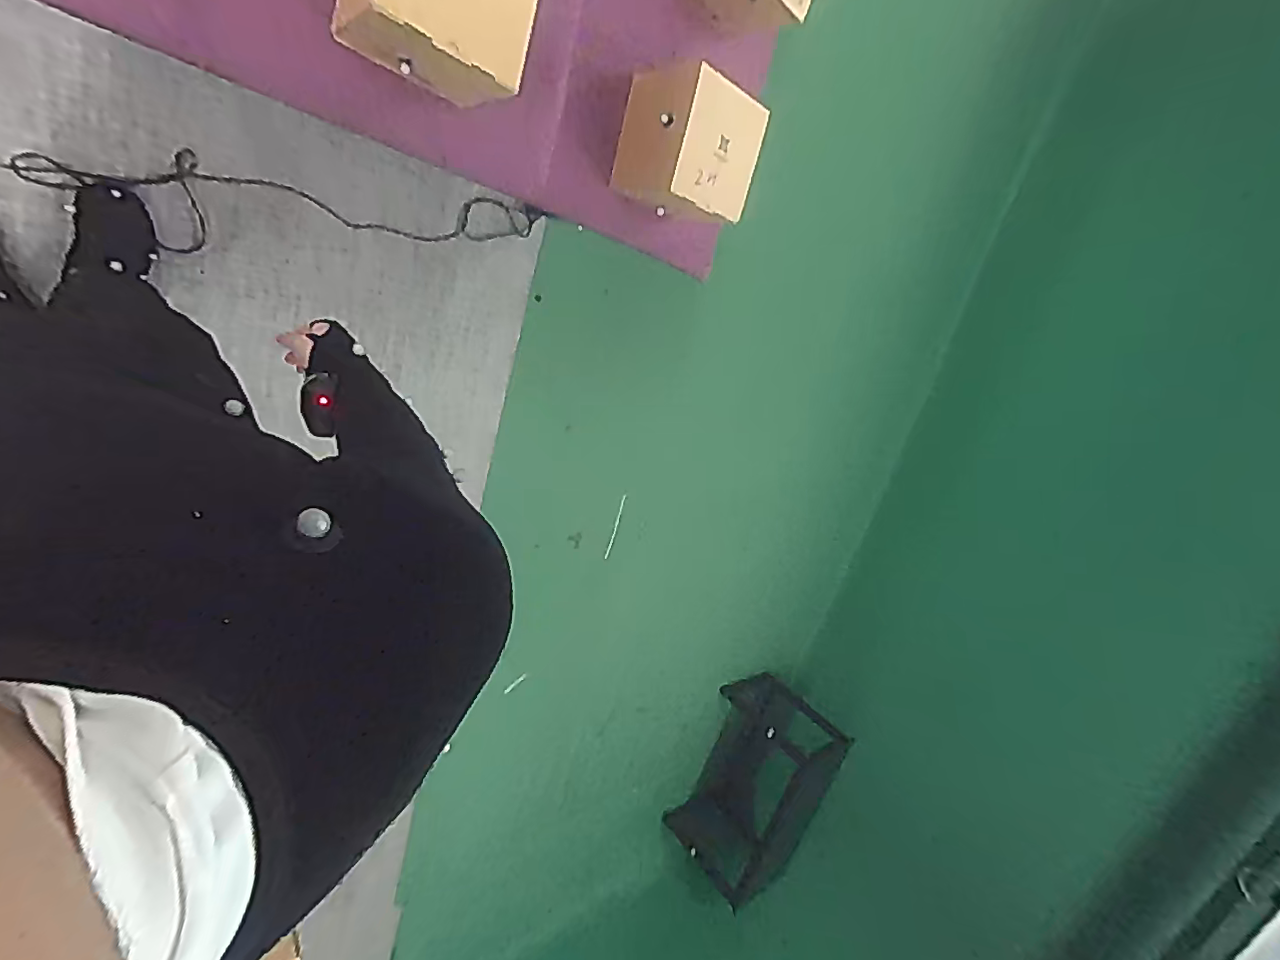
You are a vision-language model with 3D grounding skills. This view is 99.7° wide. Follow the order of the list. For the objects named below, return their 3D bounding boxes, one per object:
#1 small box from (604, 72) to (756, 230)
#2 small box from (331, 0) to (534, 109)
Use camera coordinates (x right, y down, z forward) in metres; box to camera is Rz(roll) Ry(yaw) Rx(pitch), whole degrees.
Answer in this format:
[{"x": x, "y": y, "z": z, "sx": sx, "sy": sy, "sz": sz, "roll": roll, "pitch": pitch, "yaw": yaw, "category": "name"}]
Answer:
[{"x": 0.061, "y": -0.550, "z": 0.921, "sx": 0.168, "sy": 0.176, "sz": 0.179, "roll": 0, "pitch": 114, "yaw": -42, "category": "small box"}, {"x": -0.240, "y": -0.567, "z": 0.628, "sx": 0.168, "sy": 0.176, "sz": 0.179, "roll": 2, "pitch": 112, "yaw": -45, "category": "small box"}]
